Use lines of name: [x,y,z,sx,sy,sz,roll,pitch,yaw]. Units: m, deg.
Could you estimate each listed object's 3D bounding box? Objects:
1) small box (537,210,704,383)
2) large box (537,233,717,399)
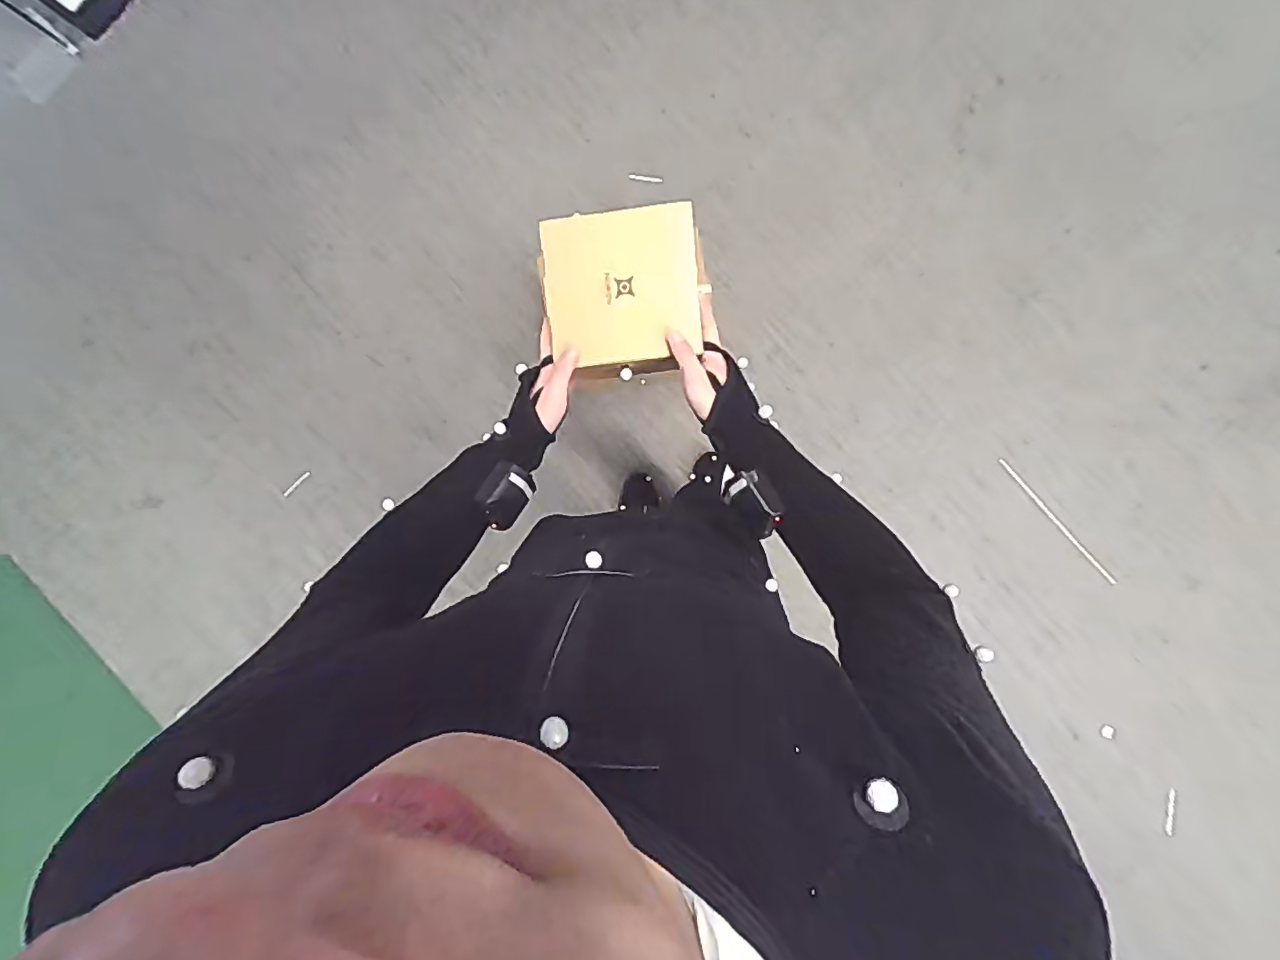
small box: [-0.015,-0.216,0.681,0.179,0.176,0.168,-5,96,7]
large box: [-0.022,-0.419,1.460,0.408,0.320,0.320,-10,91,4]
